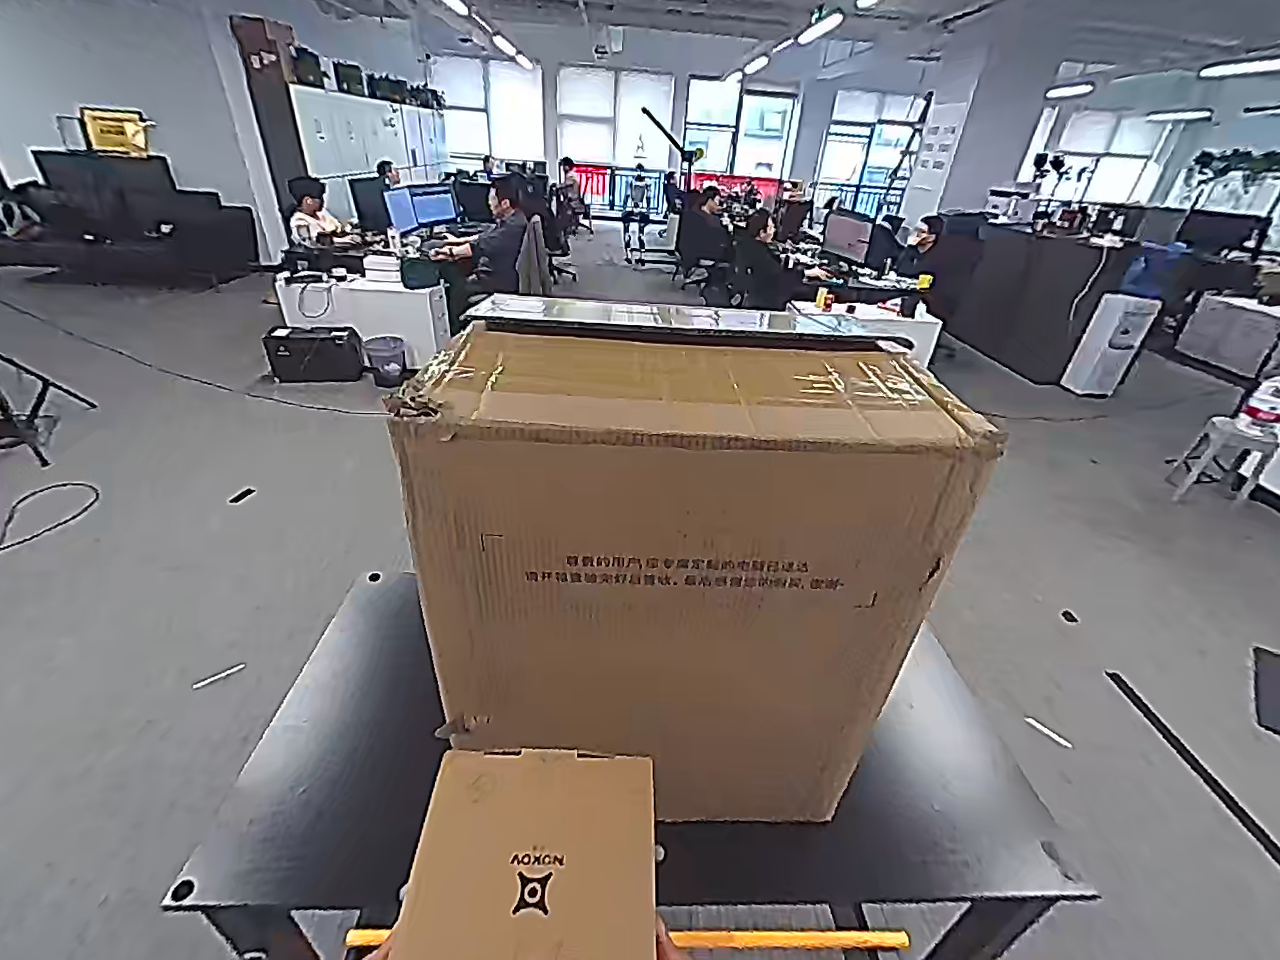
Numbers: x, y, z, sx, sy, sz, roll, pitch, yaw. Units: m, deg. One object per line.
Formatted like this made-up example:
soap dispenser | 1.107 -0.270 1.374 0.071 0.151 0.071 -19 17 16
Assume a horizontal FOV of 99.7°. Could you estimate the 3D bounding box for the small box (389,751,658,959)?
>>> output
small box | -0.076 0.333 0.409 0.168 0.176 0.179 2 38 -3
